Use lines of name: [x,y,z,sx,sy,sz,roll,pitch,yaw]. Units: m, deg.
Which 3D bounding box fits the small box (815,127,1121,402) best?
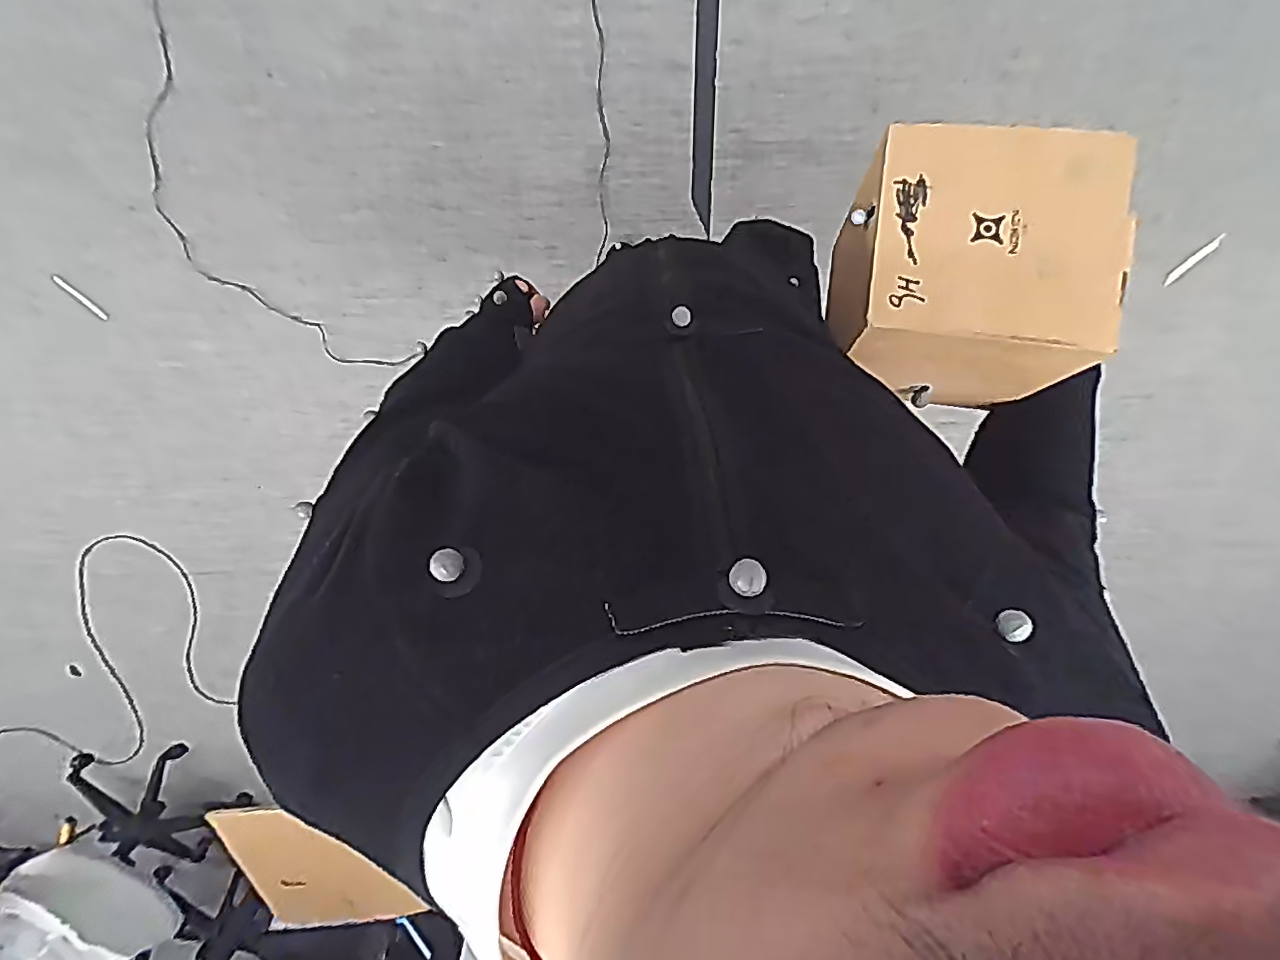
small box: [0.275,-0.176,0.491,0.179,0.176,0.168,9,83,6]
